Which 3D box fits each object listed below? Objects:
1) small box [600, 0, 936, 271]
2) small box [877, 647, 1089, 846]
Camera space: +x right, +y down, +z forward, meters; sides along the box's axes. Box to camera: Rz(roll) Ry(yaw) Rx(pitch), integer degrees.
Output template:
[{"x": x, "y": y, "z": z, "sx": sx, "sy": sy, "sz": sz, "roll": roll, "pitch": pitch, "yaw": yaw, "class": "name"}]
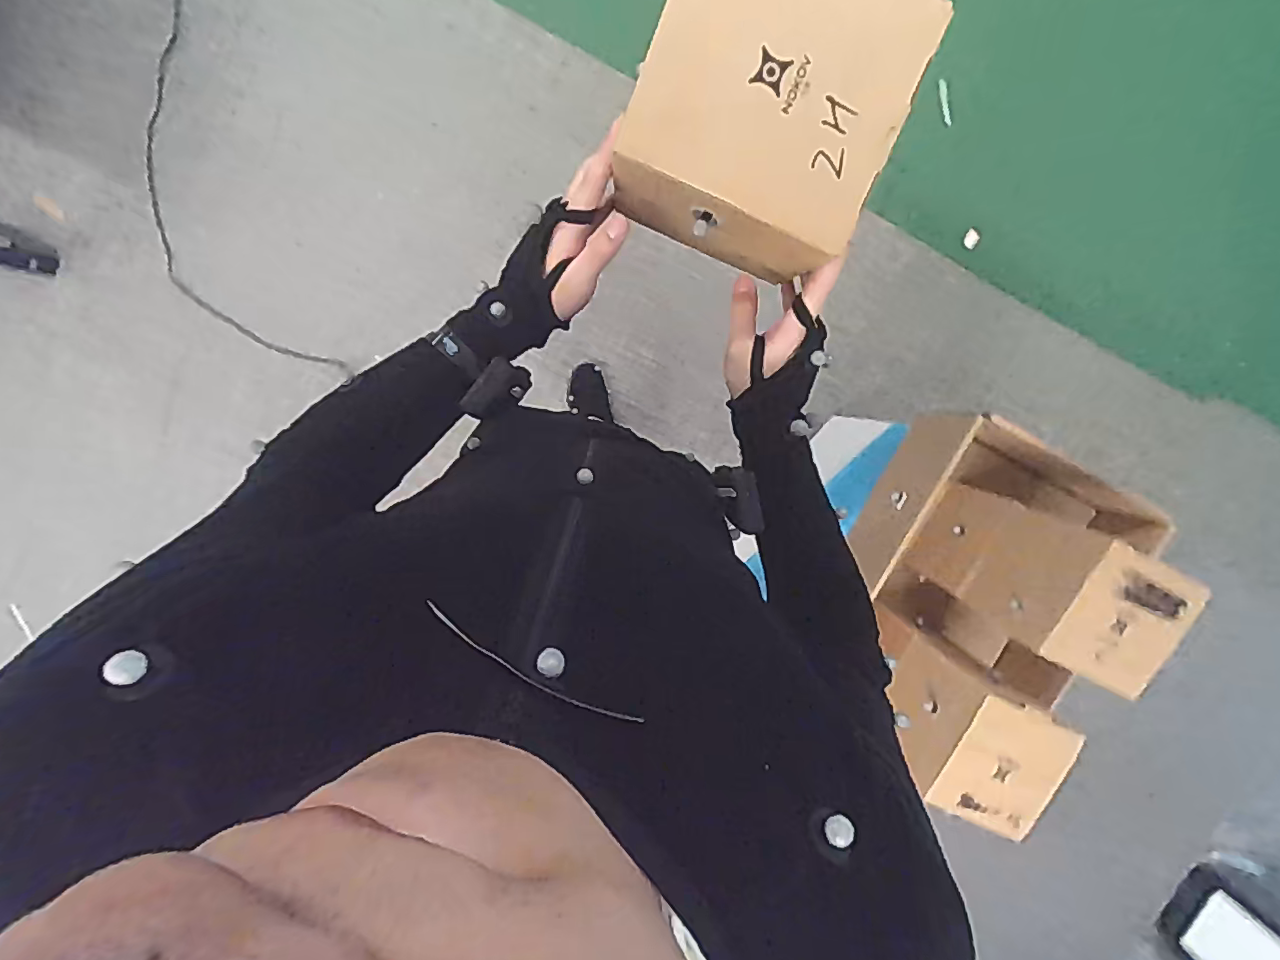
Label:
[{"x": 0.081, "y": -0.285, "z": 0.434, "sx": 0.179, "sy": 0.176, "sz": 0.168, "roll": 21, "pitch": 102, "yaw": -6, "class": "small box"}, {"x": 0.489, "y": 0.380, "z": 0.803, "sx": 0.168, "sy": 0.176, "sz": 0.179, "roll": 27, "pitch": 96, "yaw": -5, "class": "small box"}]
